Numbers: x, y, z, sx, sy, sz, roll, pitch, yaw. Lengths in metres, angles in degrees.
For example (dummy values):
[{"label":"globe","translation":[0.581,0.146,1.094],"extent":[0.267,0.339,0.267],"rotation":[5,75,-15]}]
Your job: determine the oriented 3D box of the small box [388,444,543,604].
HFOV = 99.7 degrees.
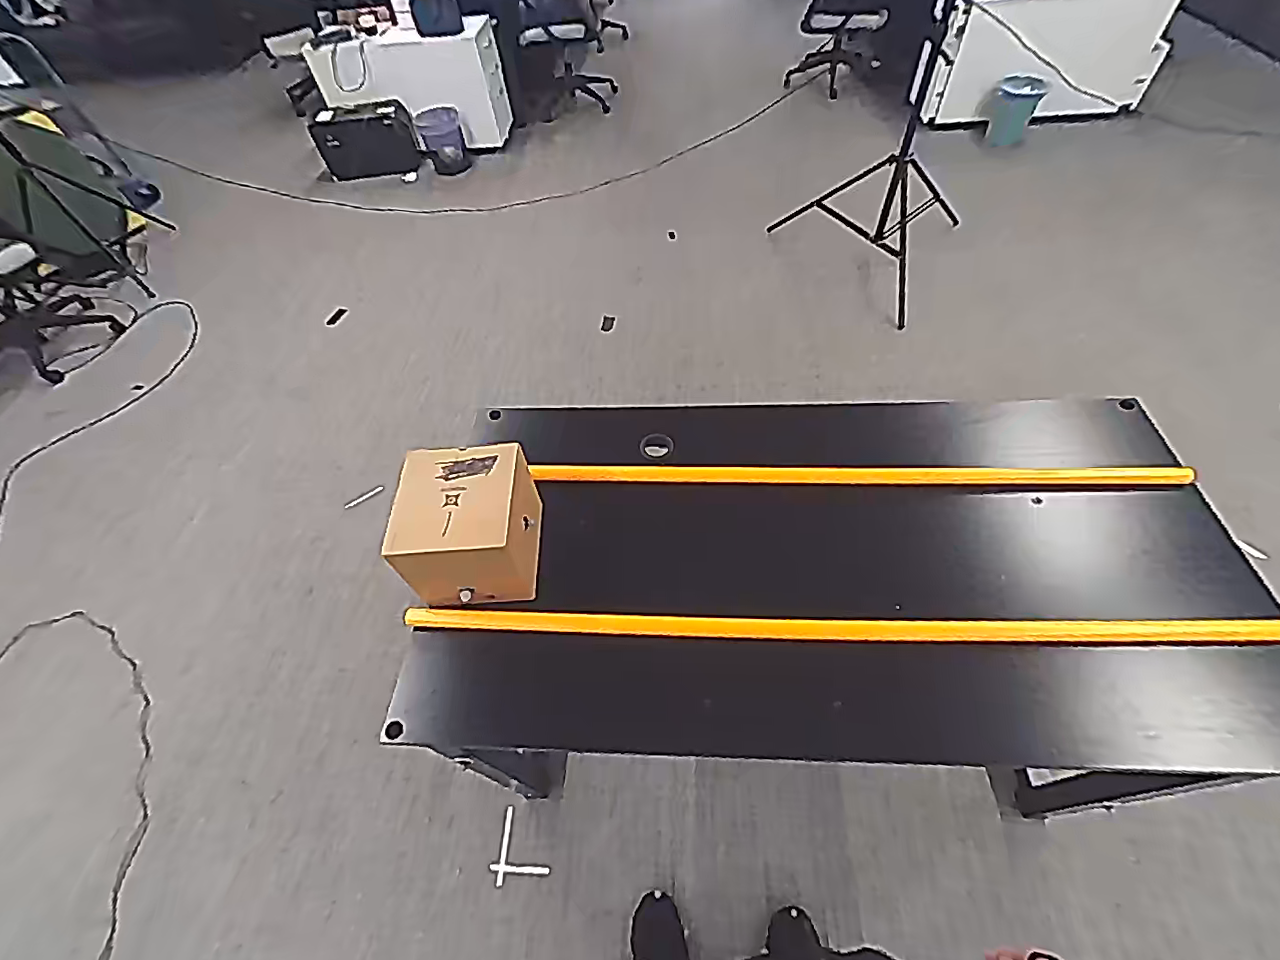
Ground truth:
[{"label":"small box","translation":[-0.245,0.068,0.811],"extent":[0.168,0.176,0.179],"rotation":[-4,54,2]}]
